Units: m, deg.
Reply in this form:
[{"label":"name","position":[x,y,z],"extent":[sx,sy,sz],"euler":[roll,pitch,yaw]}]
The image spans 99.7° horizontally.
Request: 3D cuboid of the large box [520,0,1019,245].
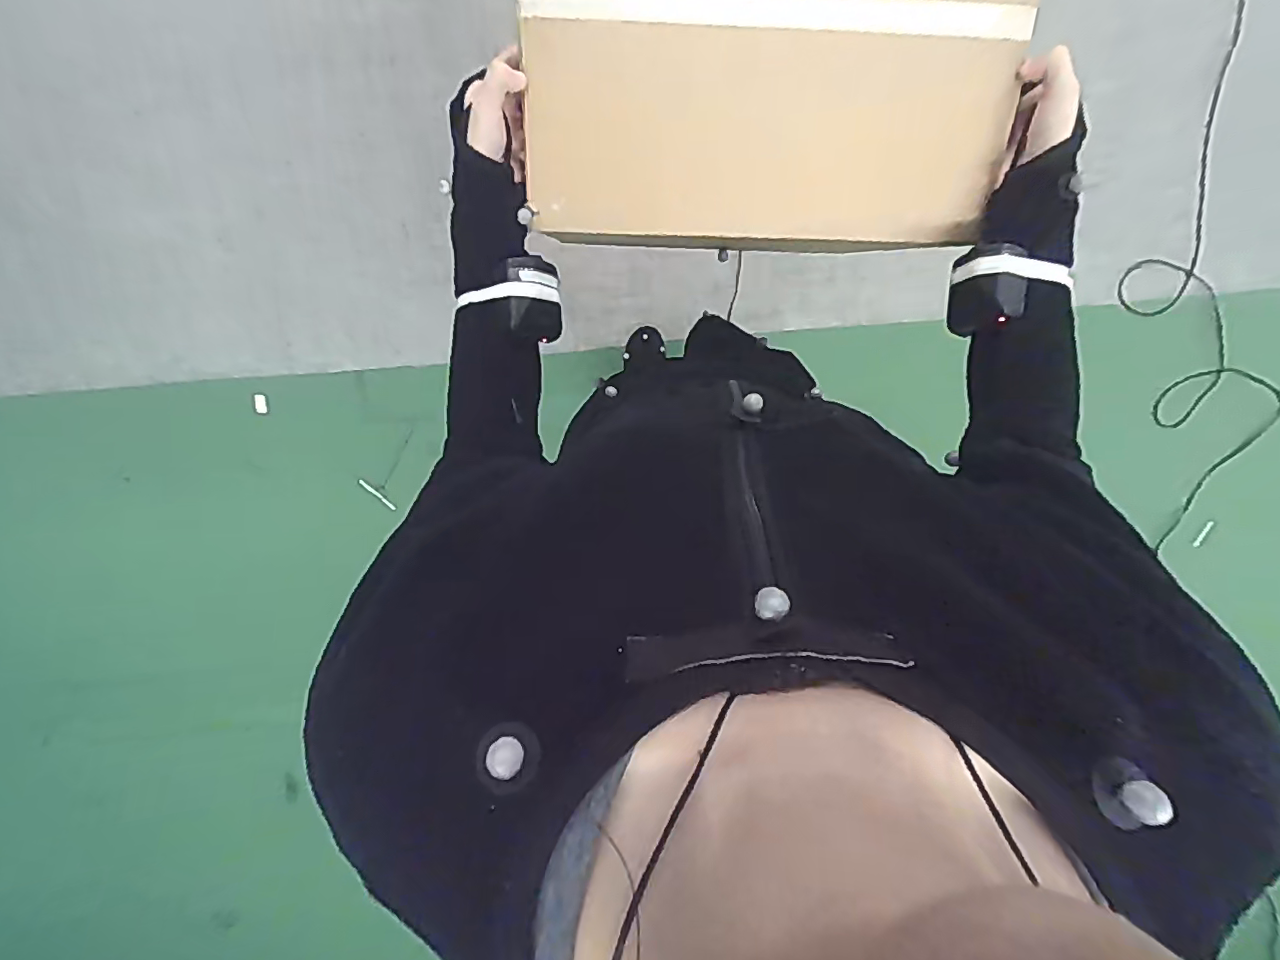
[{"label":"large box","position":[0.101,-0.419,0.571],"extent":[0.408,0.320,0.320],"euler":[0,111,-2]}]
